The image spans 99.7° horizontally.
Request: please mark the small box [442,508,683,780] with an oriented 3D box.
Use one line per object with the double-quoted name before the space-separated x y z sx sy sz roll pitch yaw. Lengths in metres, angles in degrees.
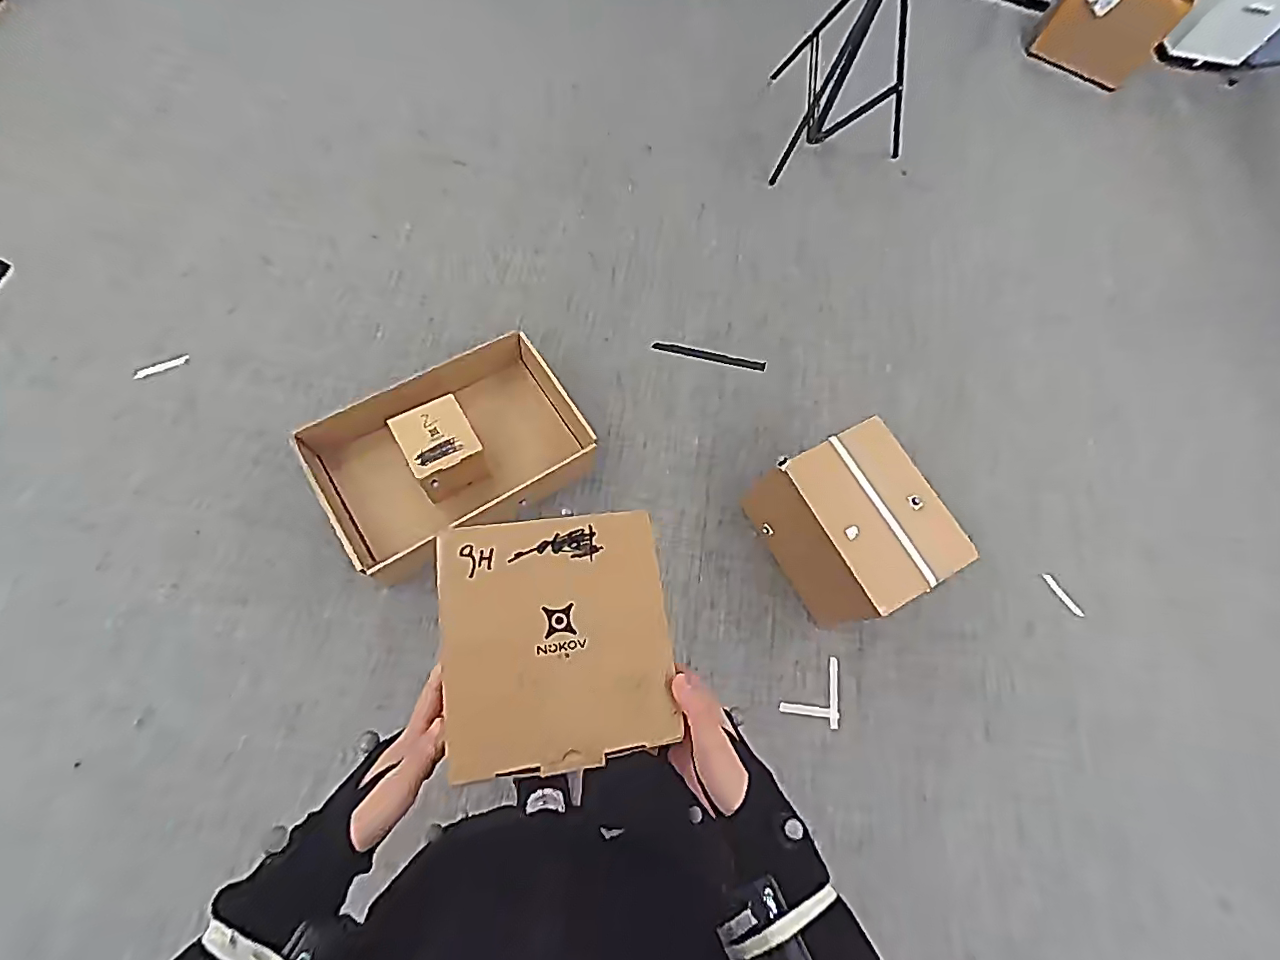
"small box" -0.075 0.134 0.470 0.168 0.176 0.179 -4 72 -16
